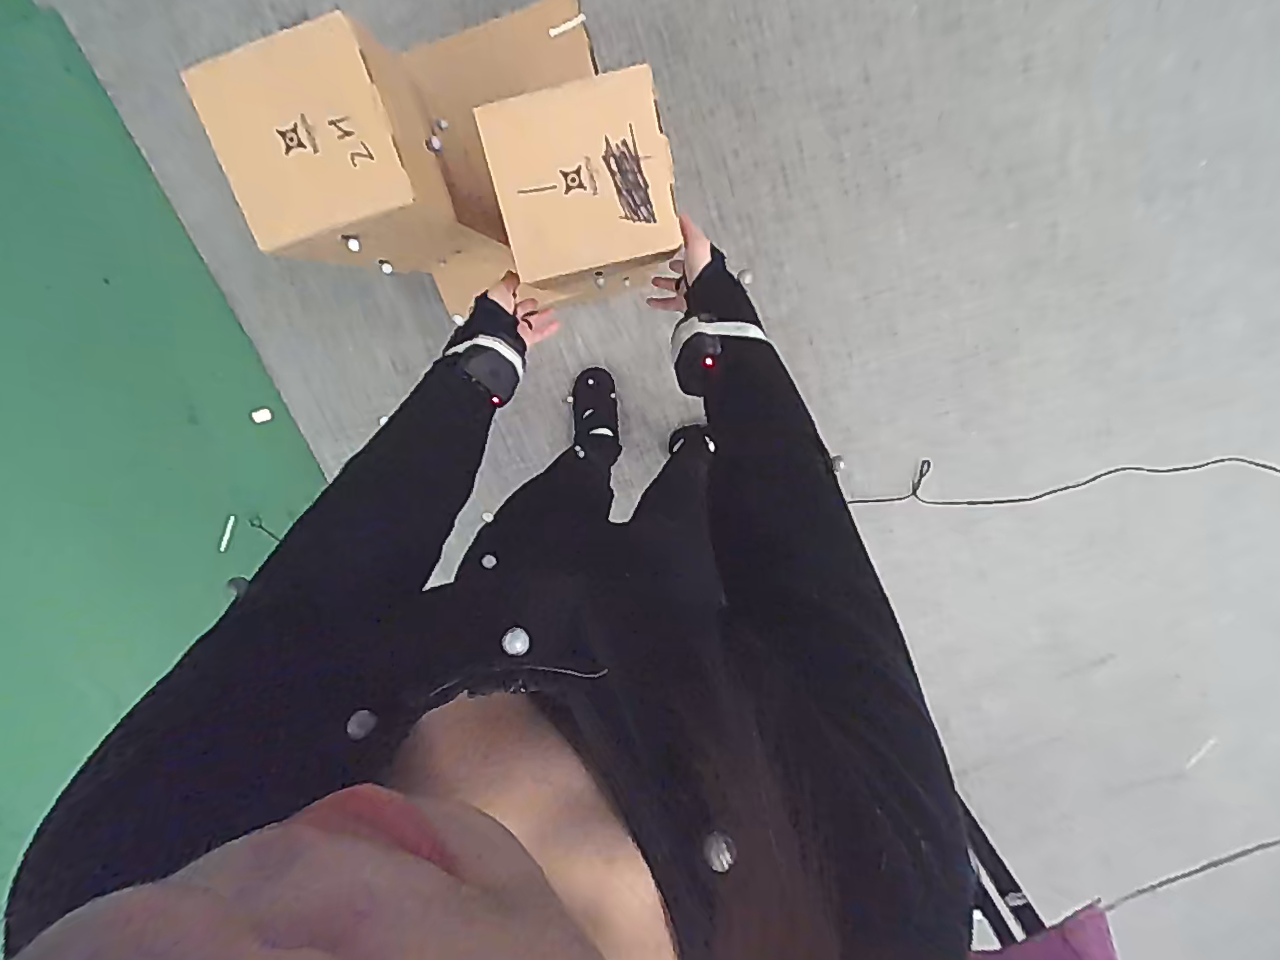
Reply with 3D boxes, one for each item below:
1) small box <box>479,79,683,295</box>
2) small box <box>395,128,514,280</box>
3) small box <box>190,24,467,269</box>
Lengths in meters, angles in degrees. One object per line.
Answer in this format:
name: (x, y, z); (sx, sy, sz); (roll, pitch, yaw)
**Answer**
small box: (-0.057, -0.313, 0.614); (0.179, 0.176, 0.168); (-12, 107, 4)
small box: (-0.323, -0.451, 0.914); (0.168, 0.176, 0.179); (-13, 105, 5)
small box: (-0.322, -0.345, 0.601); (0.179, 0.176, 0.168); (-15, 106, 6)
